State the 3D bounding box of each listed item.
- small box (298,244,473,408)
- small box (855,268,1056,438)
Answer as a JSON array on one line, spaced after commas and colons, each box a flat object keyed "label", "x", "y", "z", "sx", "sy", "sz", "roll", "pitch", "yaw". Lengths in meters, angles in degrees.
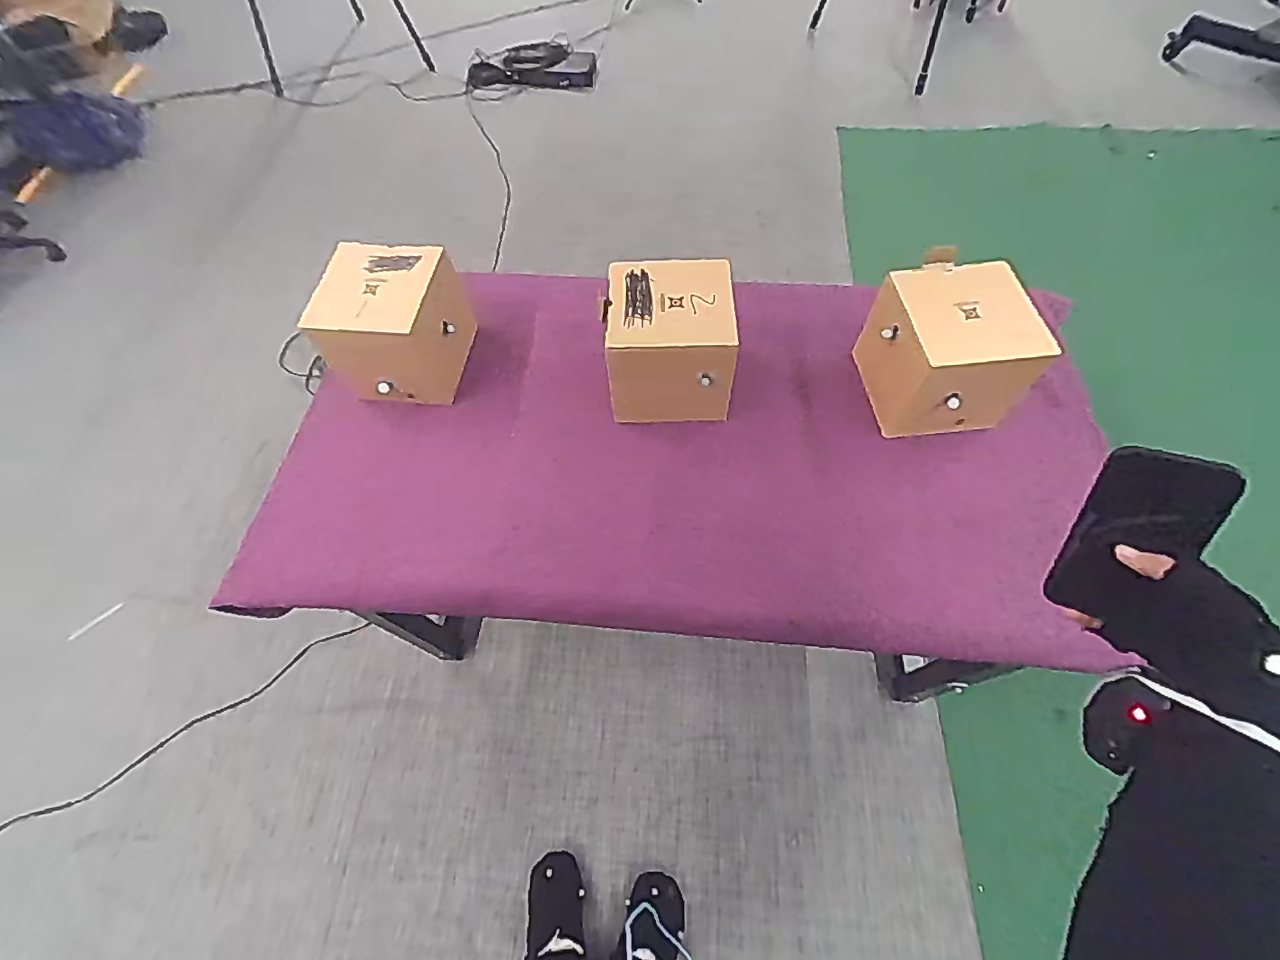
[{"label": "small box", "x": -0.377, "y": -0.236, "z": 0.842, "sx": 0.168, "sy": 0.176, "sz": 0.179, "roll": 5, "pitch": 63, "yaw": 5}, {"label": "small box", "x": 0.432, "y": -0.172, "z": 0.778, "sx": 0.168, "sy": 0.176, "sz": 0.179, "roll": -5, "pitch": 60, "yaw": 0}]
